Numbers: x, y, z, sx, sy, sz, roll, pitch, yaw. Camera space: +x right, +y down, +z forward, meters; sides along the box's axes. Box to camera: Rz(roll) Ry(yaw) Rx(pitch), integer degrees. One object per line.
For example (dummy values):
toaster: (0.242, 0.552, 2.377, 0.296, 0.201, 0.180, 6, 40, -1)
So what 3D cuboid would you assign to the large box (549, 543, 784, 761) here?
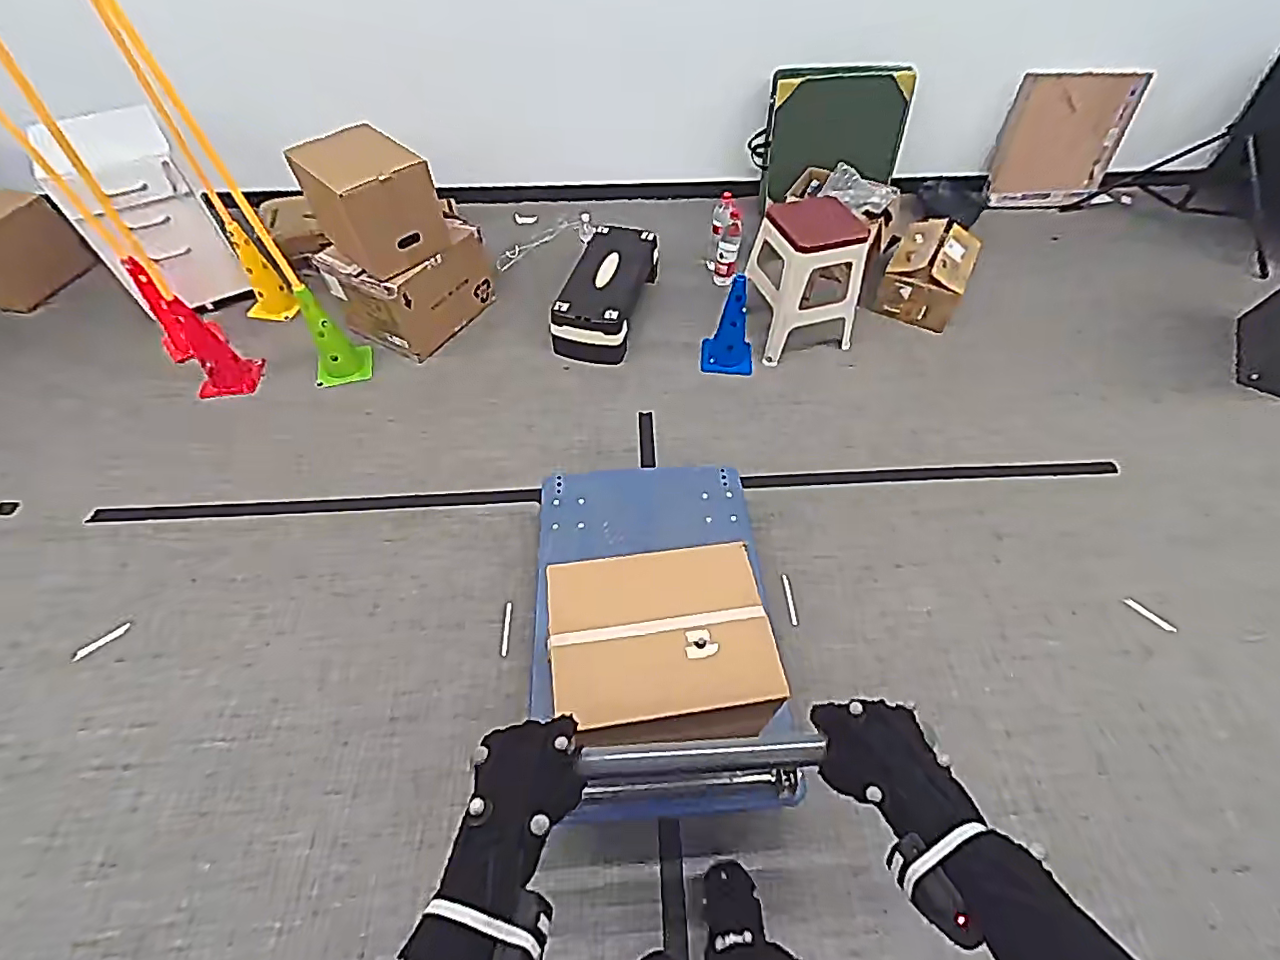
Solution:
large box: (0.032, 0.365, 1.138, 0.408, 0.320, 0.320, -6, 54, -7)
